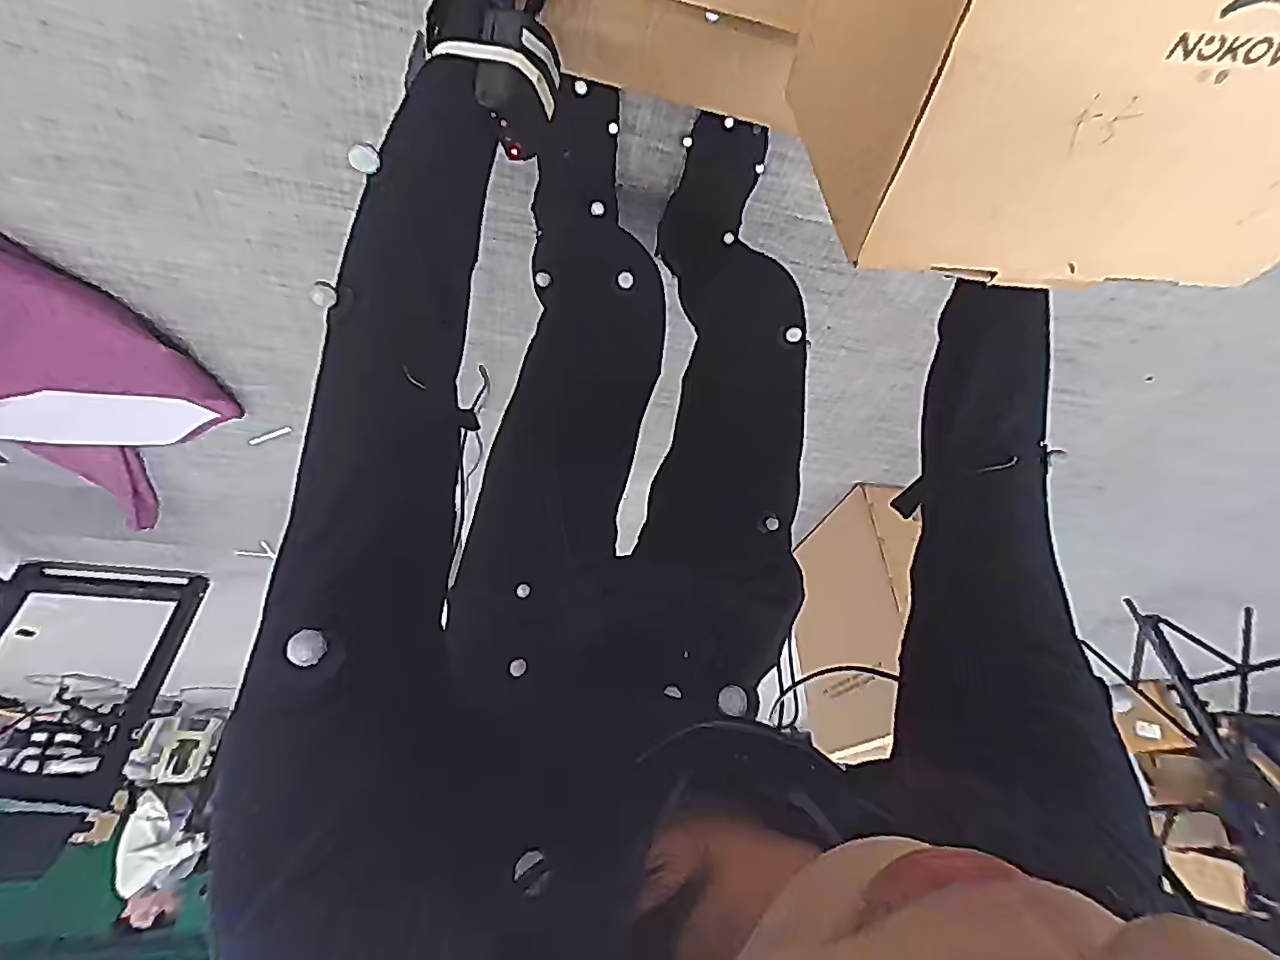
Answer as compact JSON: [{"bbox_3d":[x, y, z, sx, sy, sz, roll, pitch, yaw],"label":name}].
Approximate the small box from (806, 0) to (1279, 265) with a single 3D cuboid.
[{"bbox_3d":[0.170,-0.207,0.193,0.168,0.176,0.179,2,146,-3],"label":"small box"}]
